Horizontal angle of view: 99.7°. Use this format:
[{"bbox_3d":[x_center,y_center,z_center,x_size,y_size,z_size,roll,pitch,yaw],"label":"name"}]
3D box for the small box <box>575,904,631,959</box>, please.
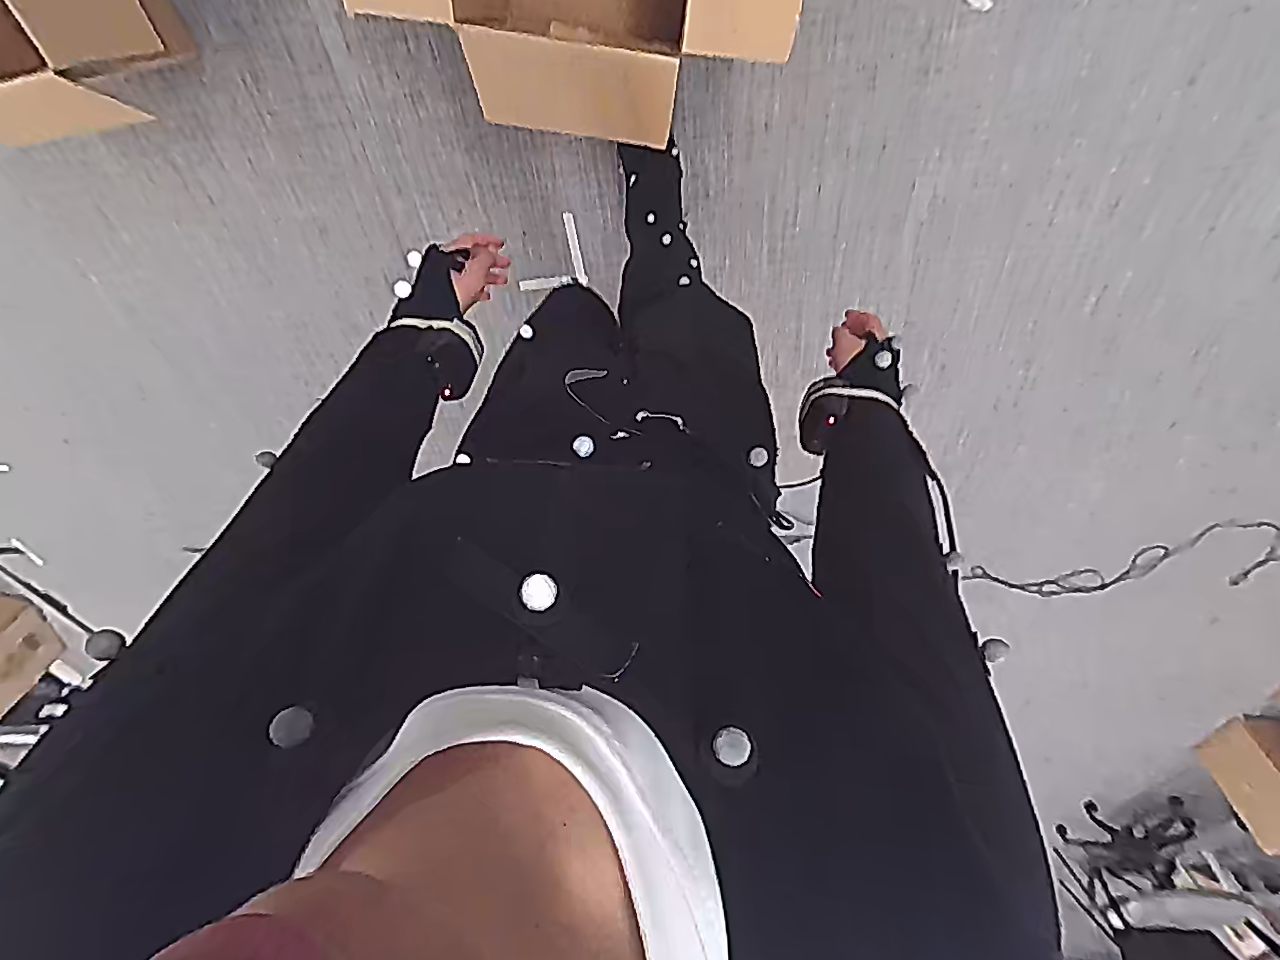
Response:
[{"bbox_3d":[-0.127,1.592,1.868,0.179,0.168,0.176,-5,131,-1],"label":"small box"}]
